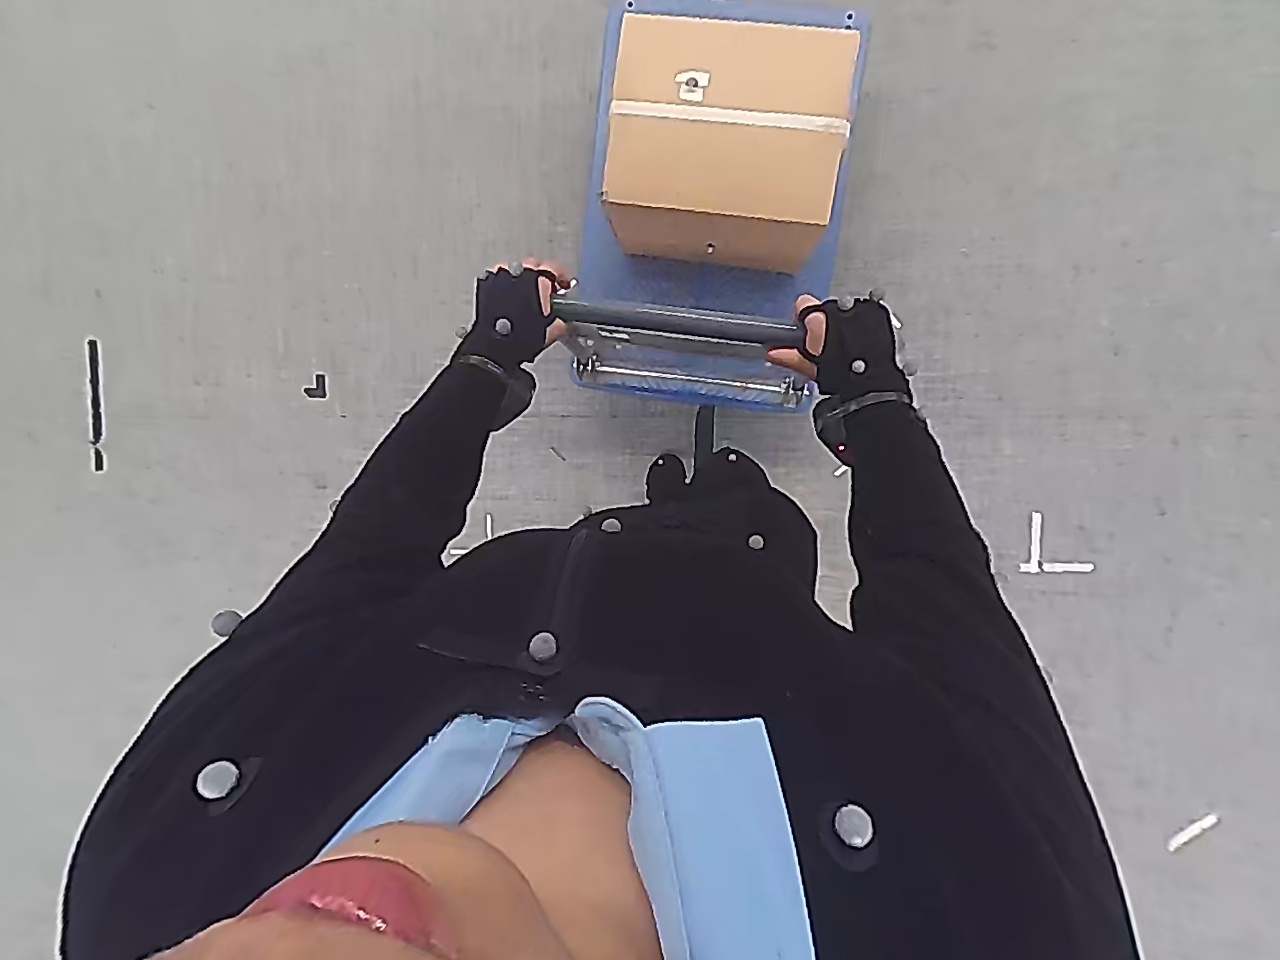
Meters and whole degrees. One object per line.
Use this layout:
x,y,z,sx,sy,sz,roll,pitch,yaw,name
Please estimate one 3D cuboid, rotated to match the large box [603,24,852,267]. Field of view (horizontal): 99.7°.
0.165,-0.642,1.094,0.408,0.320,0.320,9,96,6,large box
